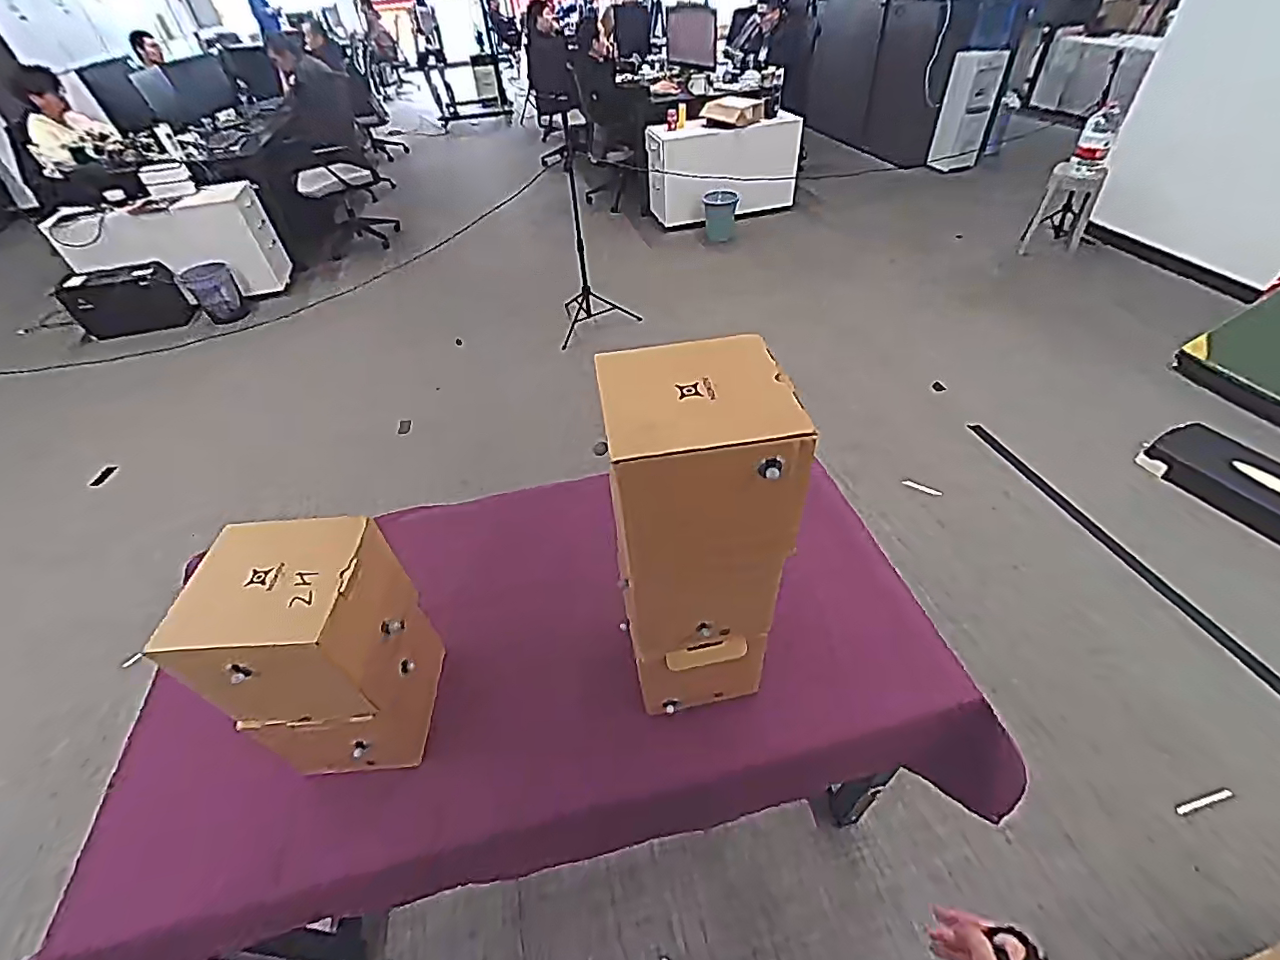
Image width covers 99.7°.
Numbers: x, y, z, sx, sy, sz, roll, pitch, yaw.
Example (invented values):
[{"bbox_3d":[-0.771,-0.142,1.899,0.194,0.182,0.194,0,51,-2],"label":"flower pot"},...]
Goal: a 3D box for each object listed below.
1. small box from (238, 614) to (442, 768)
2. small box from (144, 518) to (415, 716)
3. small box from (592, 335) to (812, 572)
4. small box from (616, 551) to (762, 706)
[{"bbox_3d":[-0.391,0.282,0.748,0.168,0.176,0.179,-4,44,0],"label":"small box"},{"bbox_3d":[-0.395,0.163,0.635,0.179,0.176,0.168,-3,45,0],"label":"small box"},{"bbox_3d":[0.053,-0.024,0.552,0.179,0.176,0.168,-8,45,-4],"label":"small box"},{"bbox_3d":[0.066,0.206,0.784,0.168,0.176,0.179,-10,44,-6],"label":"small box"}]
